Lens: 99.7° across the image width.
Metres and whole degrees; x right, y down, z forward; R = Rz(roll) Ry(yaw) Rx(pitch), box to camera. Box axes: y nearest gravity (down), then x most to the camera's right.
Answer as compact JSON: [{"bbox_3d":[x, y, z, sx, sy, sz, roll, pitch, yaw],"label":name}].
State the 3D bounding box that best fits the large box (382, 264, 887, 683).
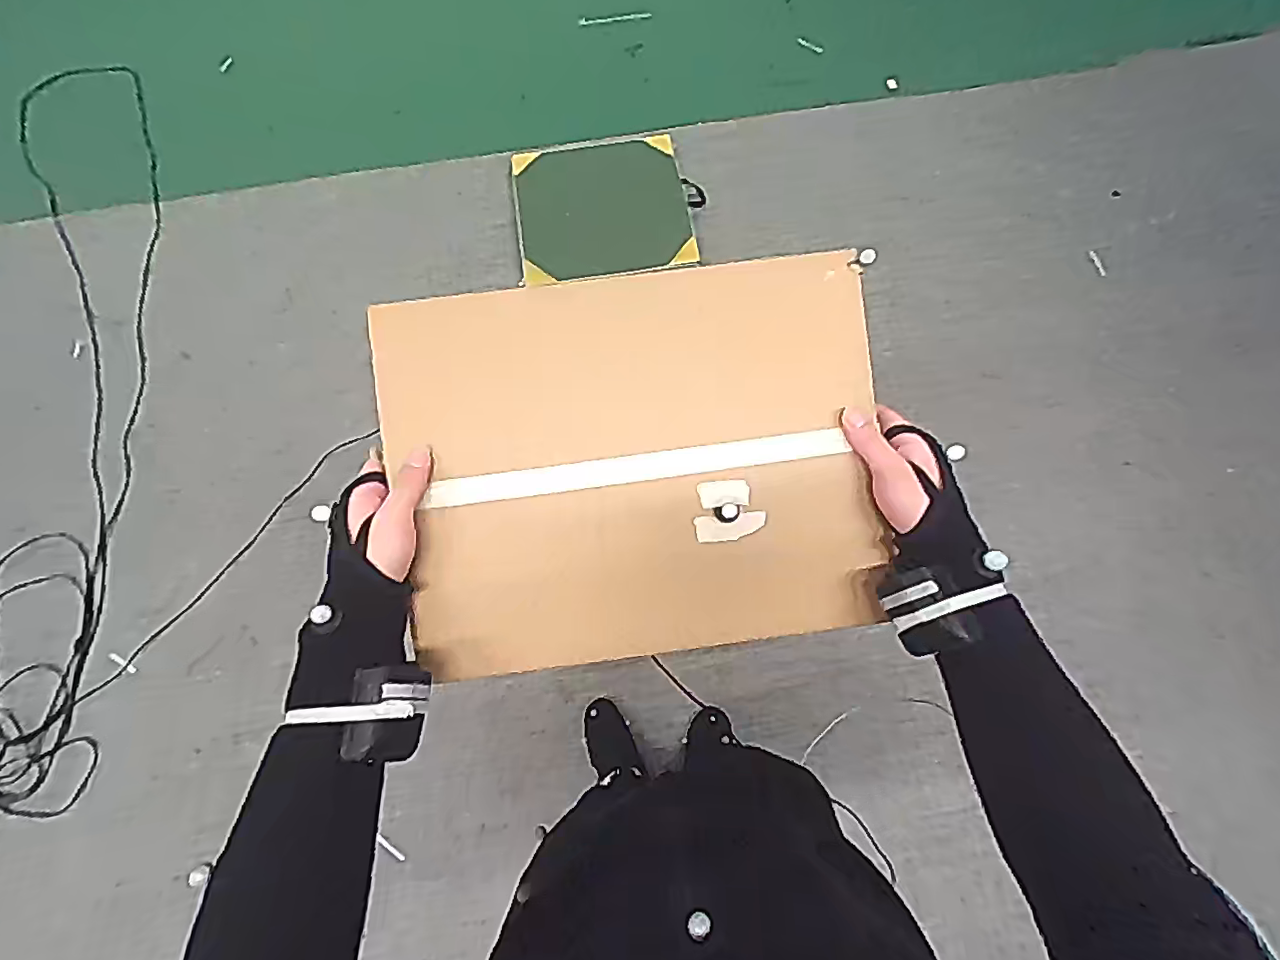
[{"bbox_3d":[-0.008,-0.007,0.610,0.408,0.320,0.320,-8,91,-2],"label":"large box"}]
